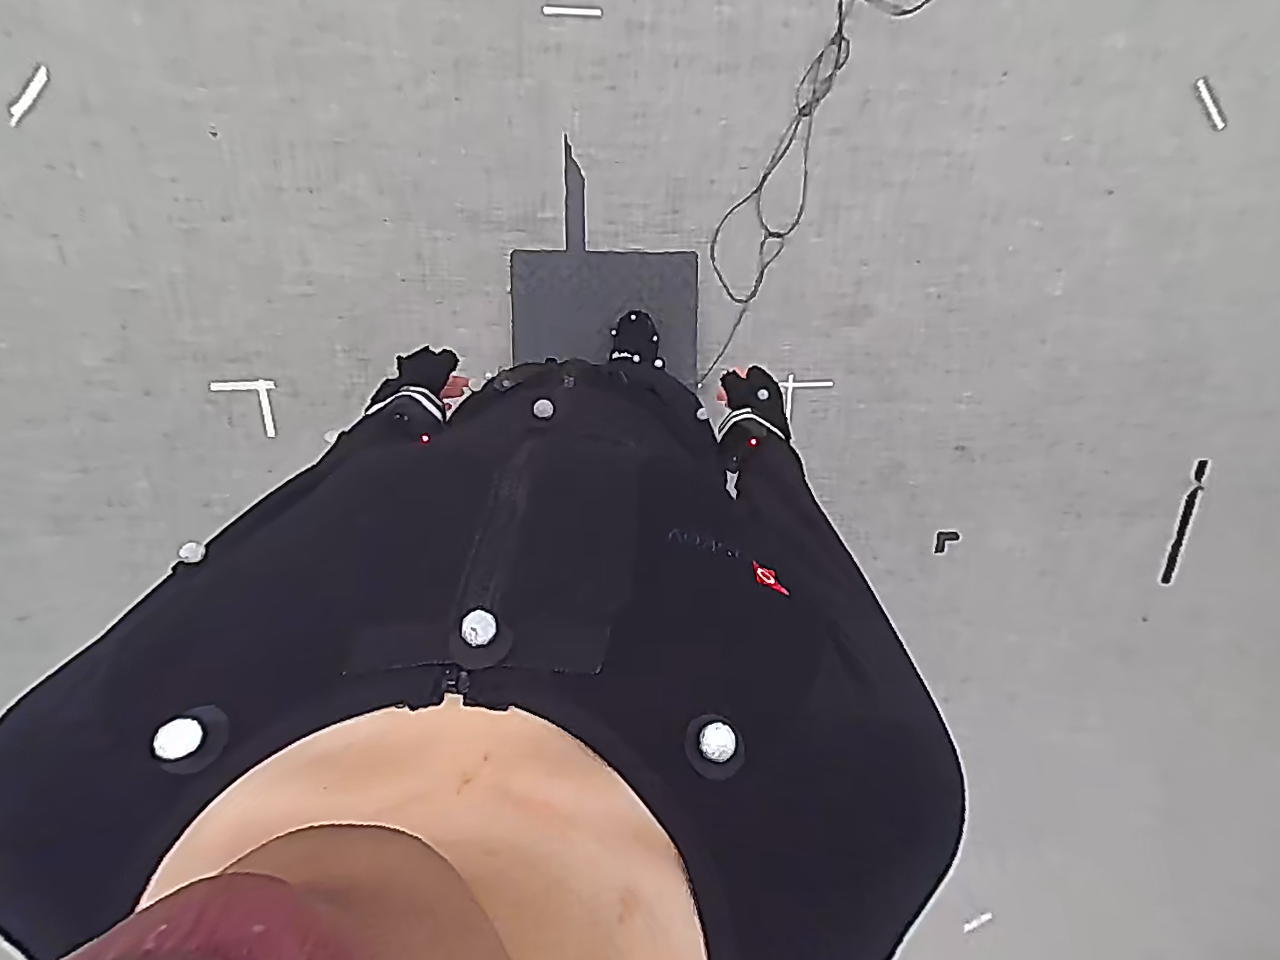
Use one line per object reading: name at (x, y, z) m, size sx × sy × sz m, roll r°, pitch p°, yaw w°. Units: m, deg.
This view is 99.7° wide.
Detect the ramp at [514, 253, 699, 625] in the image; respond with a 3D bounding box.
ramp at (-0.087, -0.098, 1.458) m, size 0.509 × 0.206 × 0.991 m, roll -2°, pitch 104°, yaw 0°
